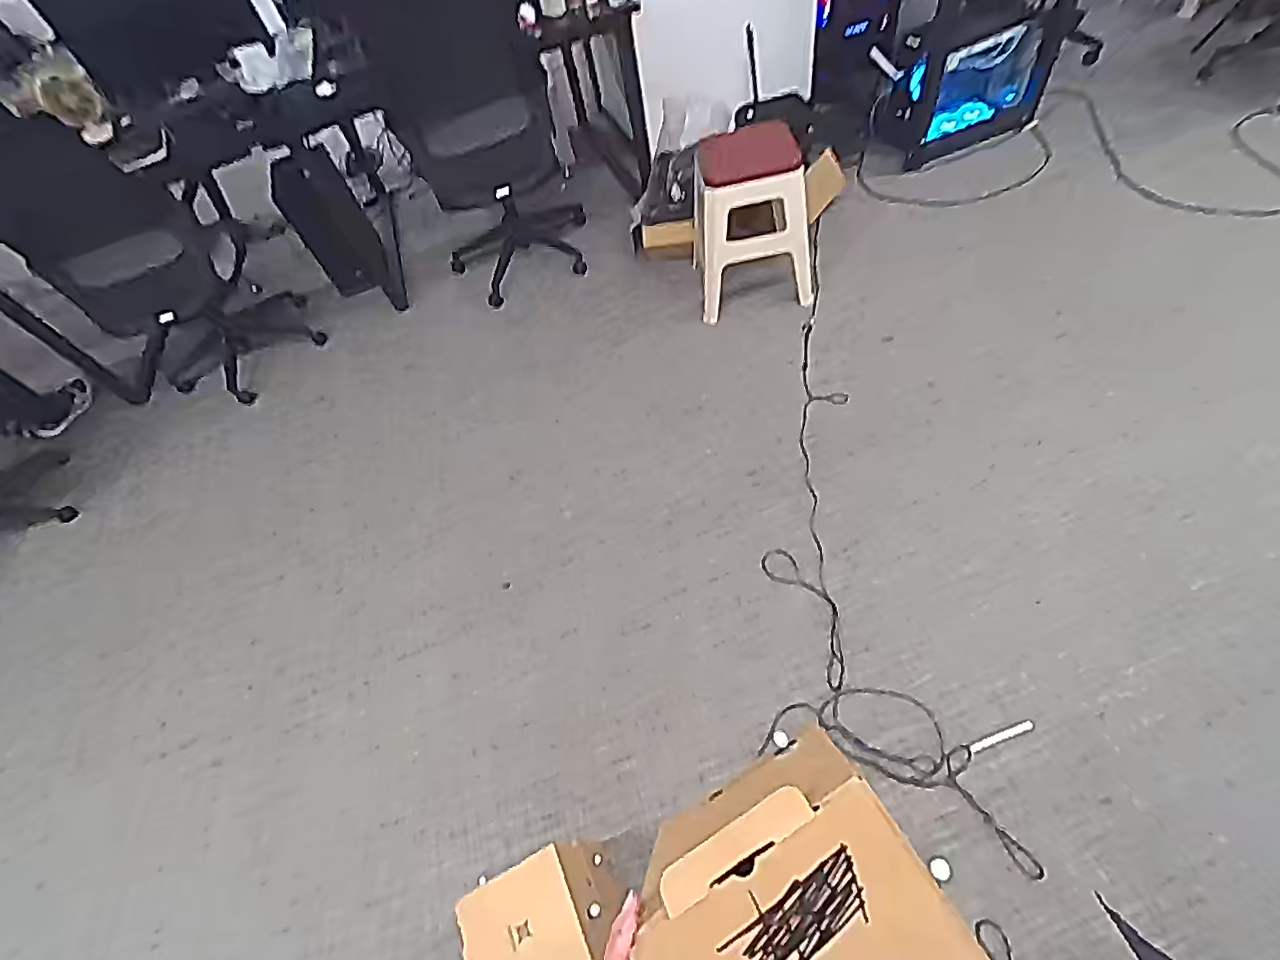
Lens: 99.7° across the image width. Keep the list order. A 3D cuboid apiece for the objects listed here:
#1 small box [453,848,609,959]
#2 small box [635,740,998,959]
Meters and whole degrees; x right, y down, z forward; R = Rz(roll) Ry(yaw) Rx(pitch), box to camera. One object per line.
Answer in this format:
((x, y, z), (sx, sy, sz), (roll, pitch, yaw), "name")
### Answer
((-0.161, 0.712, 0.853), (0.179, 0.176, 0.168), (-28, 54, -7), "small box")
((0.118, 0.297, 0.355), (0.168, 0.176, 0.179), (-34, 75, 0), "small box")
